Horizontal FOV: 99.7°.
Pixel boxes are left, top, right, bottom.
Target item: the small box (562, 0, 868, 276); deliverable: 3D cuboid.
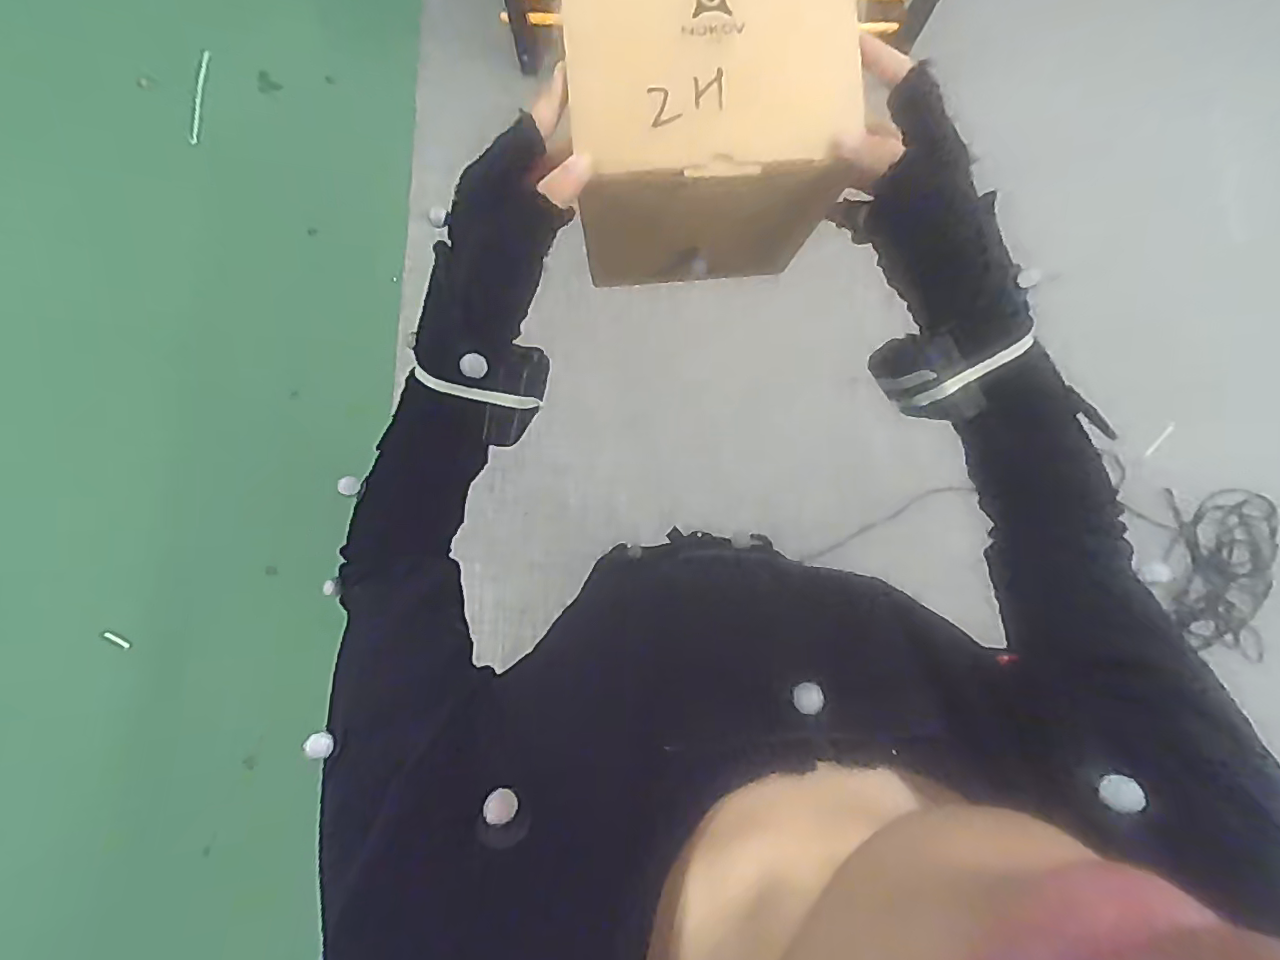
[{"bbox_3d":[0.036,-0.263,0.375,0.168,0.176,0.179,-4,88,-1],"label":"small box"}]
